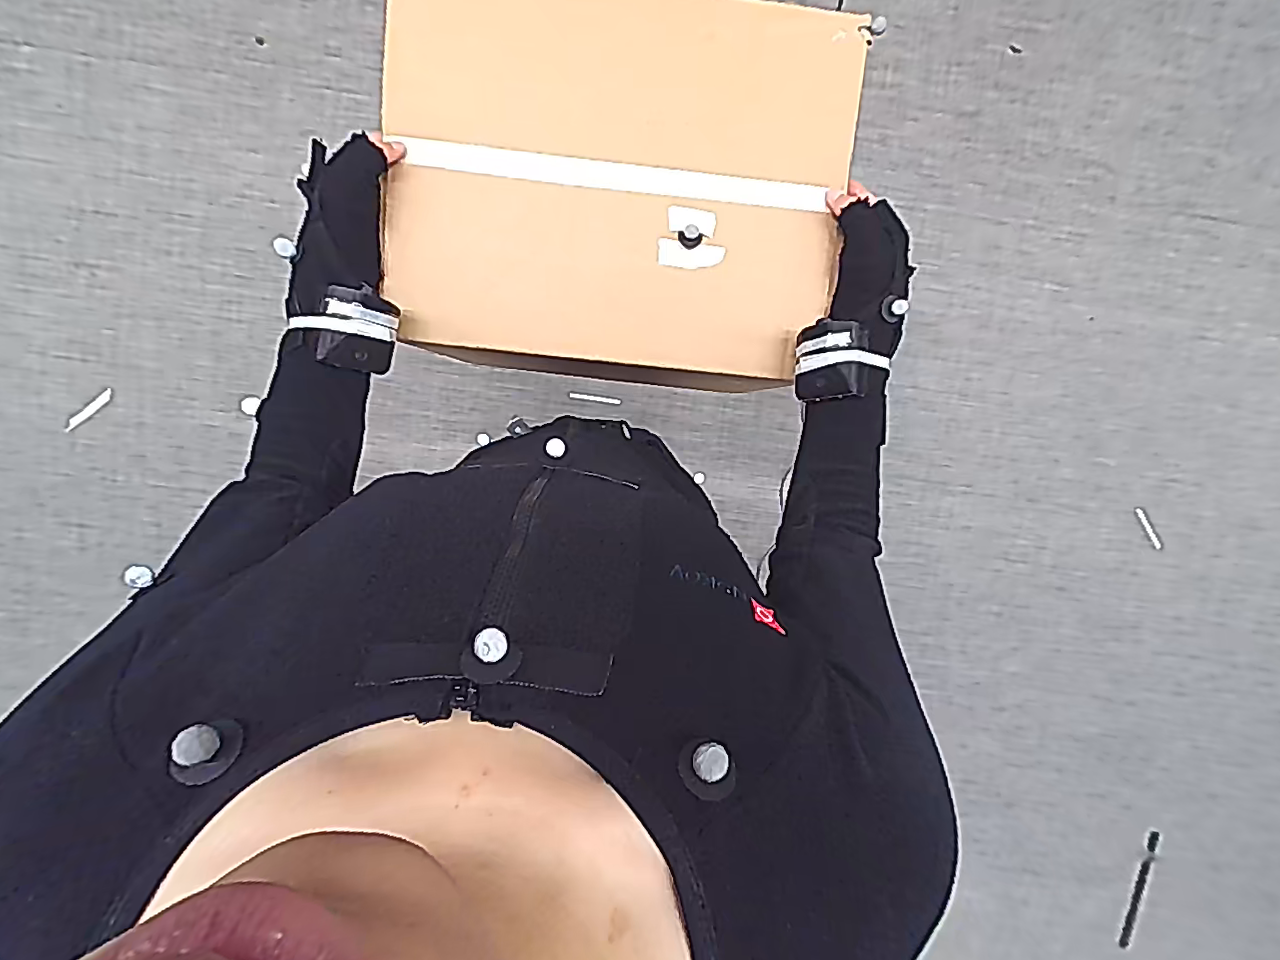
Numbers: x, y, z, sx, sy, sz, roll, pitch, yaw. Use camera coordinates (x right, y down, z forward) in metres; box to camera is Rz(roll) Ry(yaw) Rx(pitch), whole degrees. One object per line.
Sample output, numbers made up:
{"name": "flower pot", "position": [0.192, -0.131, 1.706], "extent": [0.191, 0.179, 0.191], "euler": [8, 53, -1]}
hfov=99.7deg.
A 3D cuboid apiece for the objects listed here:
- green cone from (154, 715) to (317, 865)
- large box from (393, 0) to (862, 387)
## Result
{"name": "green cone", "position": [-1.046, 0.804, 1.365], "extent": [0.202, 0.368, 0.200], "euler": [-30, 96, 4]}
{"name": "large box", "position": [-0.023, -0.285, 0.626], "extent": [0.408, 0.320, 0.320], "euler": [5, 97, -4]}
